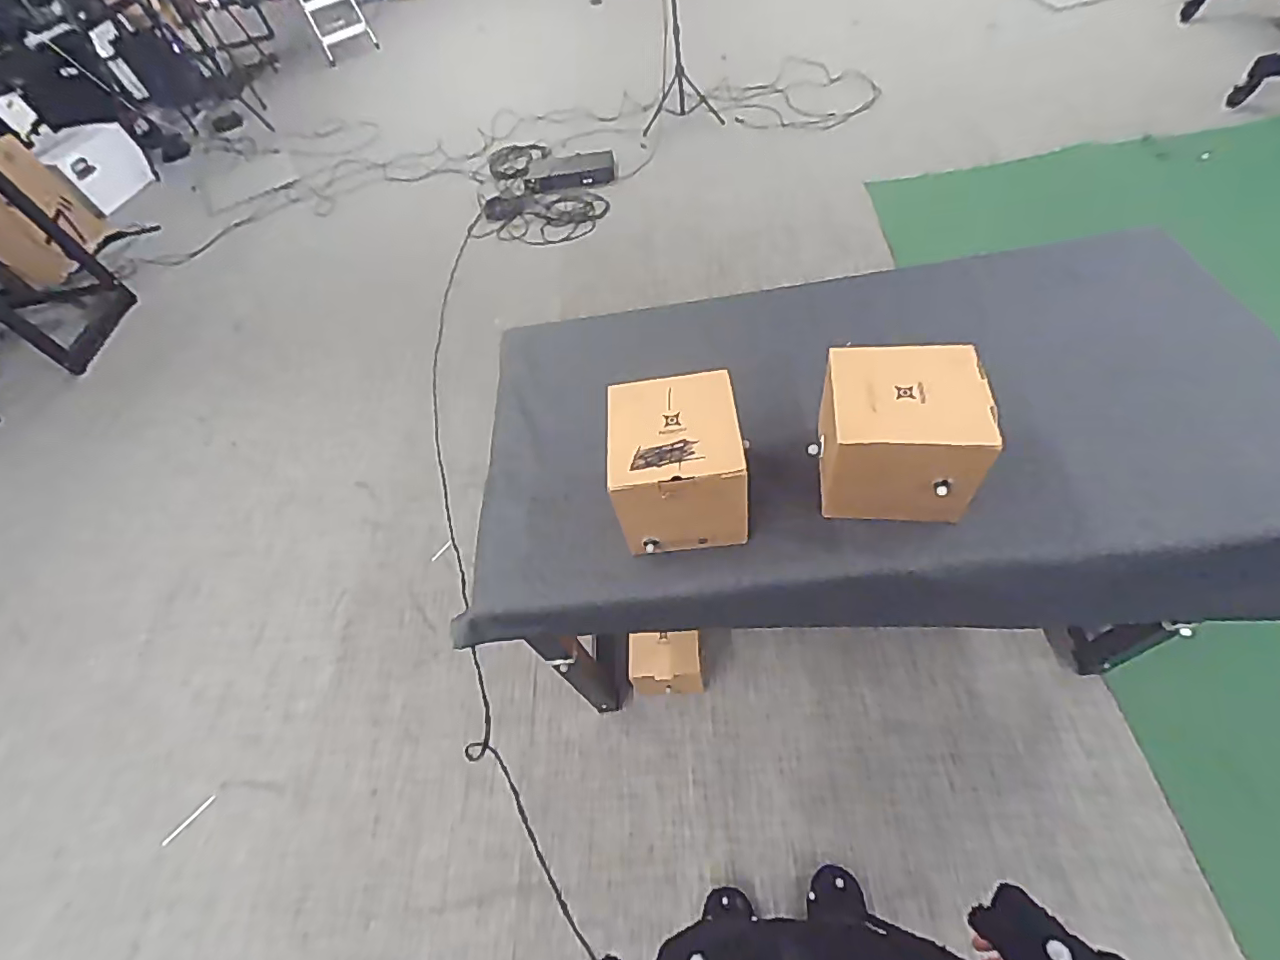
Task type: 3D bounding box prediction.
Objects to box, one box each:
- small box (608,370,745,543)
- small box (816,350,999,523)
[{"bbox_3d":[0.054,-0.023,0.747,0.168,0.176,0.179,-5,53,6],"label":"small box"},{"bbox_3d":[0.337,-0.054,0.722,0.179,0.176,0.168,2,55,12],"label":"small box"}]
